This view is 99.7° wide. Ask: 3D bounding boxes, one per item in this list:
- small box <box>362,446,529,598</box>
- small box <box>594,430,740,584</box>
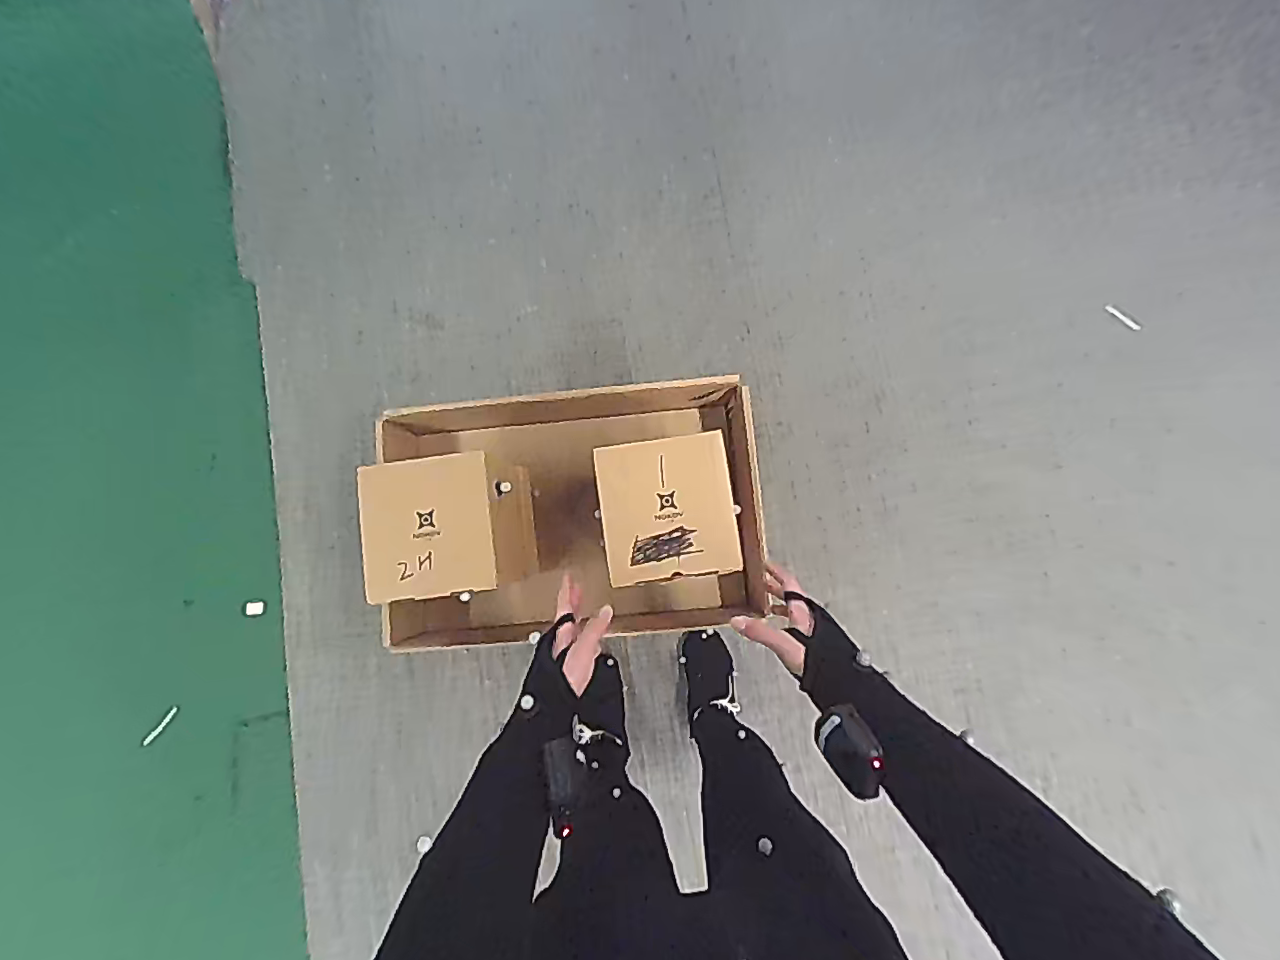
[{"bbox_3d":[-0.259,0.061,0.748,0.168,0.176,0.179,-7,83,2],"label":"small box"},{"bbox_3d":[0.036,0.040,0.742,0.168,0.176,0.179,-7,84,1],"label":"small box"}]
